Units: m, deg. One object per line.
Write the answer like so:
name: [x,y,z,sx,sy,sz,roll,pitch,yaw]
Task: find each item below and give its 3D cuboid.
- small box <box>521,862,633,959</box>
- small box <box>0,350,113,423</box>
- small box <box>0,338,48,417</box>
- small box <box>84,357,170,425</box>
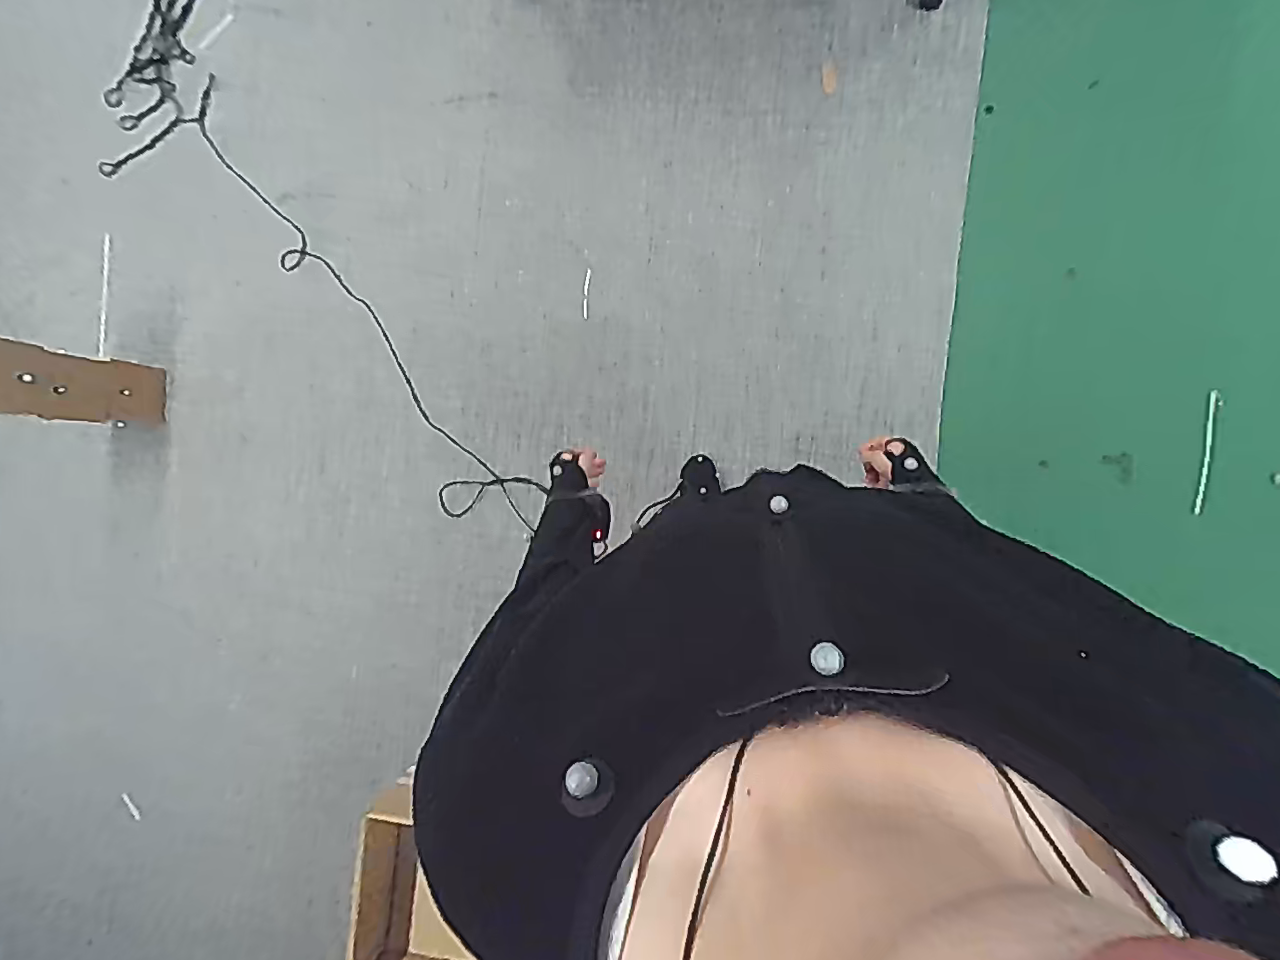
small box: [-0.119,0.877,1.032,0.179,0.176,0.168,8,91,7]
small box: [-1.560,-0.247,1.436,0.168,0.176,0.179,5,91,5]
small box: [-1.562,-0.248,1.272,0.168,0.176,0.179,3,90,6]
small box: [-1.543,-0.259,1.599,0.168,0.176,0.179,5,91,6]
